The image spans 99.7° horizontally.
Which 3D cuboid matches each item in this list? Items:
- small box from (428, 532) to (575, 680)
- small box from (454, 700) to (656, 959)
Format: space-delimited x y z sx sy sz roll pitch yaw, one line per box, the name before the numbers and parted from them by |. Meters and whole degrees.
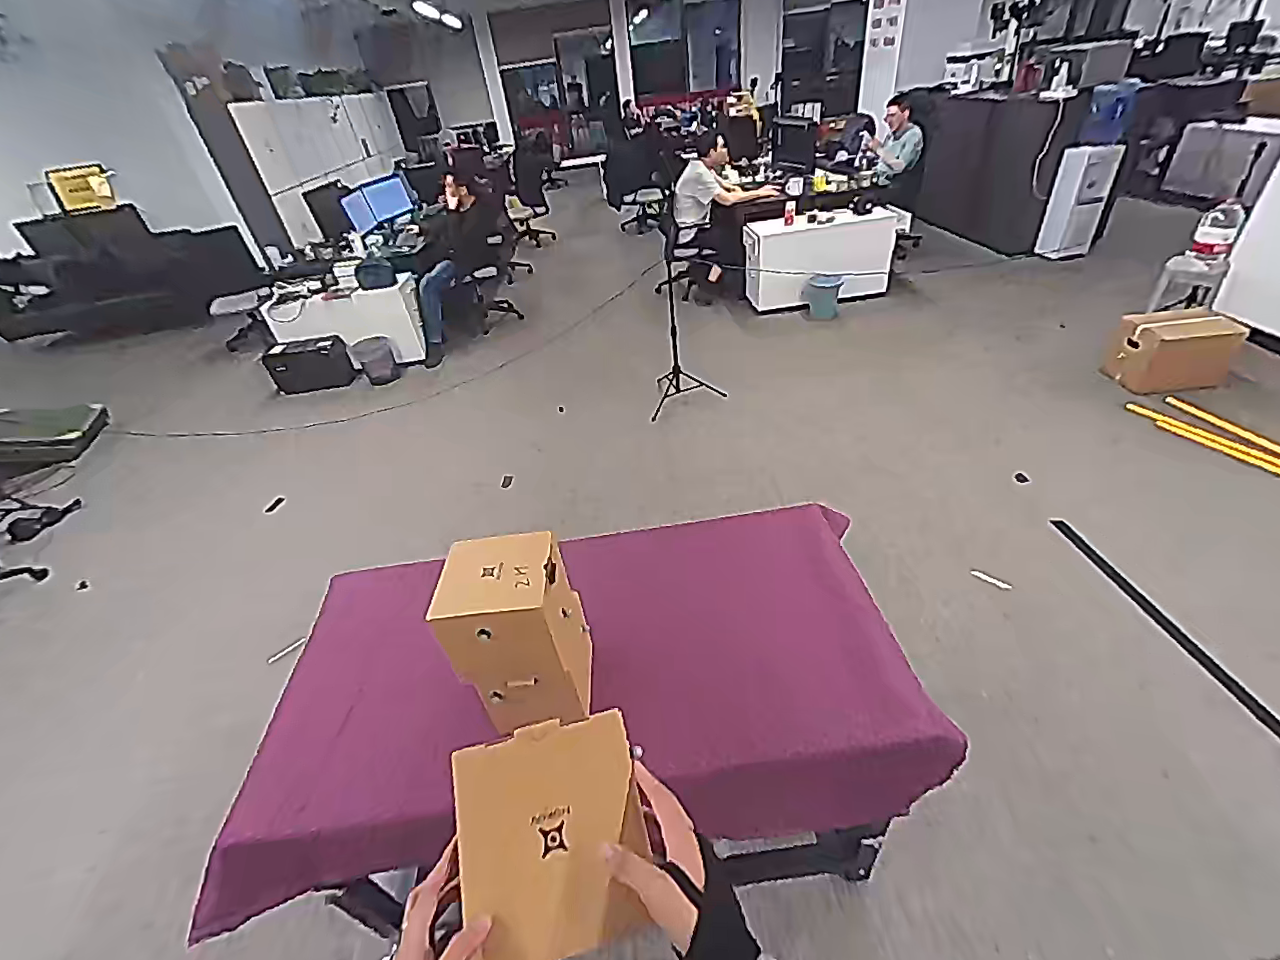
small box | -0.214 0.209 0.888 0.179 0.176 0.168 -6 37 3
small box | -0.083 0.350 0.552 0.168 0.176 0.179 -10 55 -9
